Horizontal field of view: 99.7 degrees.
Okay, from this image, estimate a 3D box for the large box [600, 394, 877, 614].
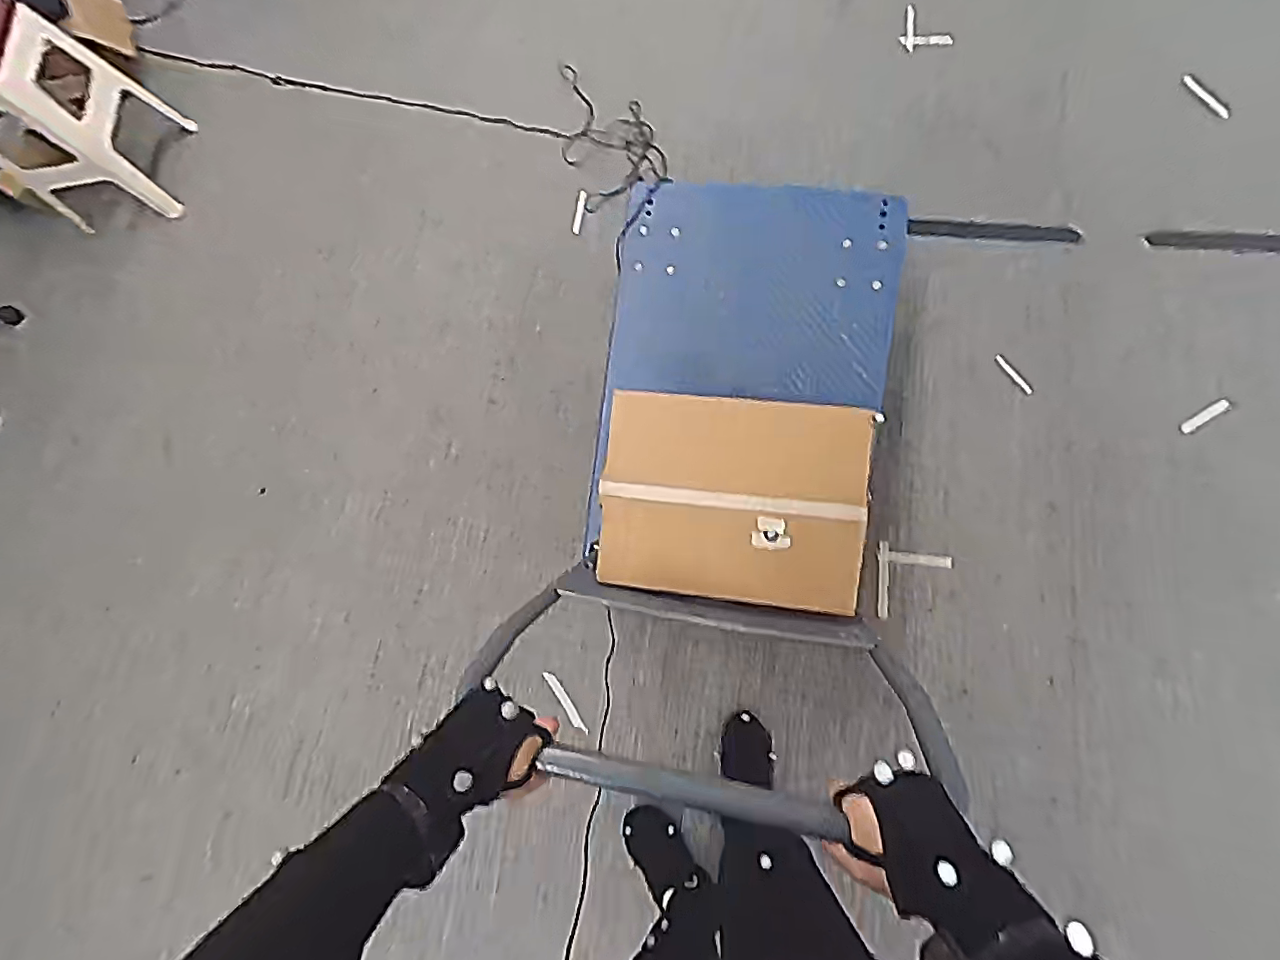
[{"bbox_3d":[0.161,0.034,0.973,0.408,0.320,0.320,5,91,8],"label":"large box"}]
